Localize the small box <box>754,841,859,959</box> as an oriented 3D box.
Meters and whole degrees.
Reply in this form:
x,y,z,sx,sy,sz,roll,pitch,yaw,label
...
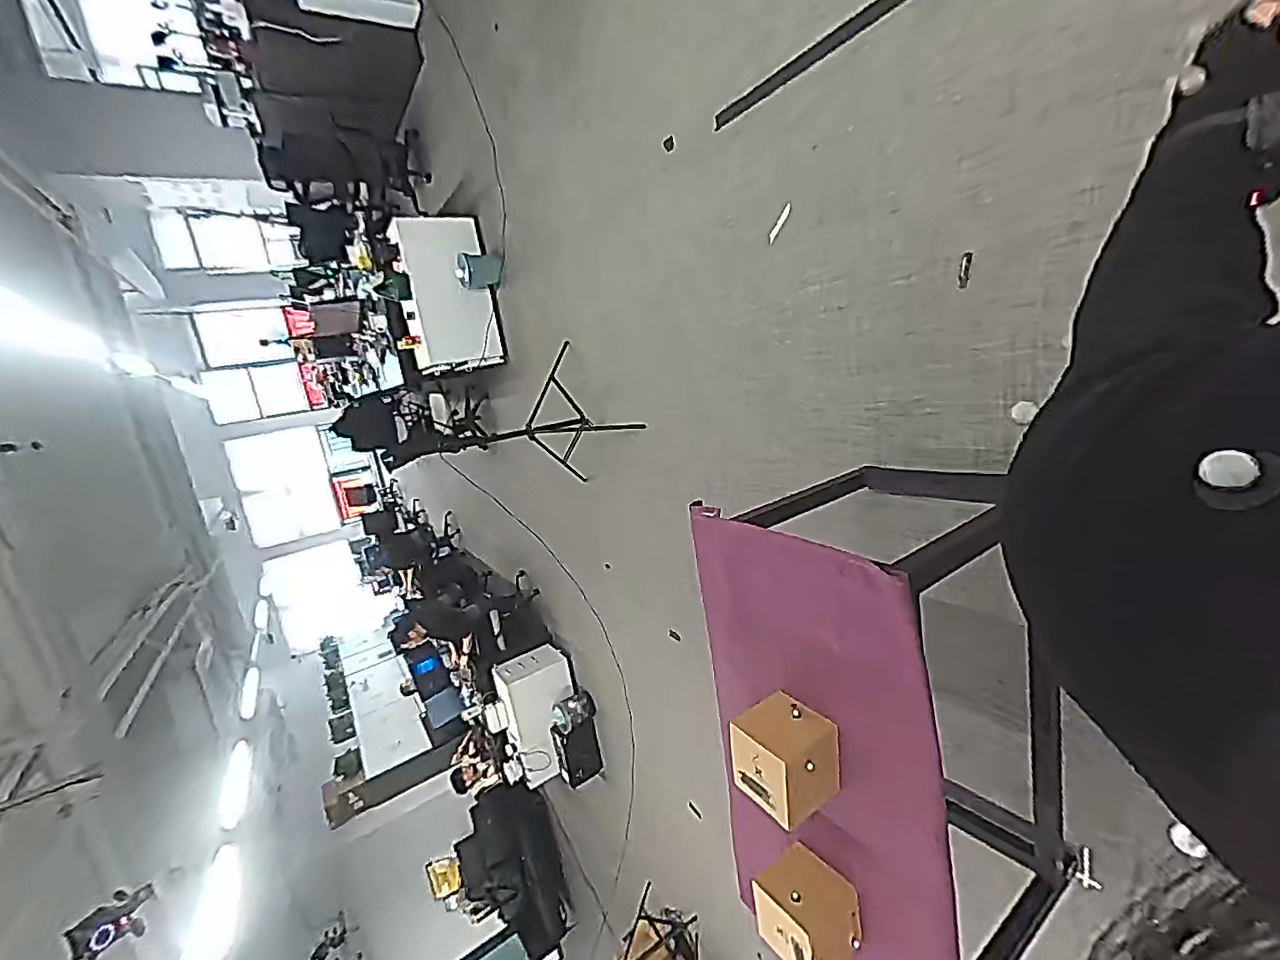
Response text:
x,y,z,sx,sy,sz,roll,pitch,yaw,label
0.402,1.016,1.289,0.179,0.176,0.168,9,112,57,small box
